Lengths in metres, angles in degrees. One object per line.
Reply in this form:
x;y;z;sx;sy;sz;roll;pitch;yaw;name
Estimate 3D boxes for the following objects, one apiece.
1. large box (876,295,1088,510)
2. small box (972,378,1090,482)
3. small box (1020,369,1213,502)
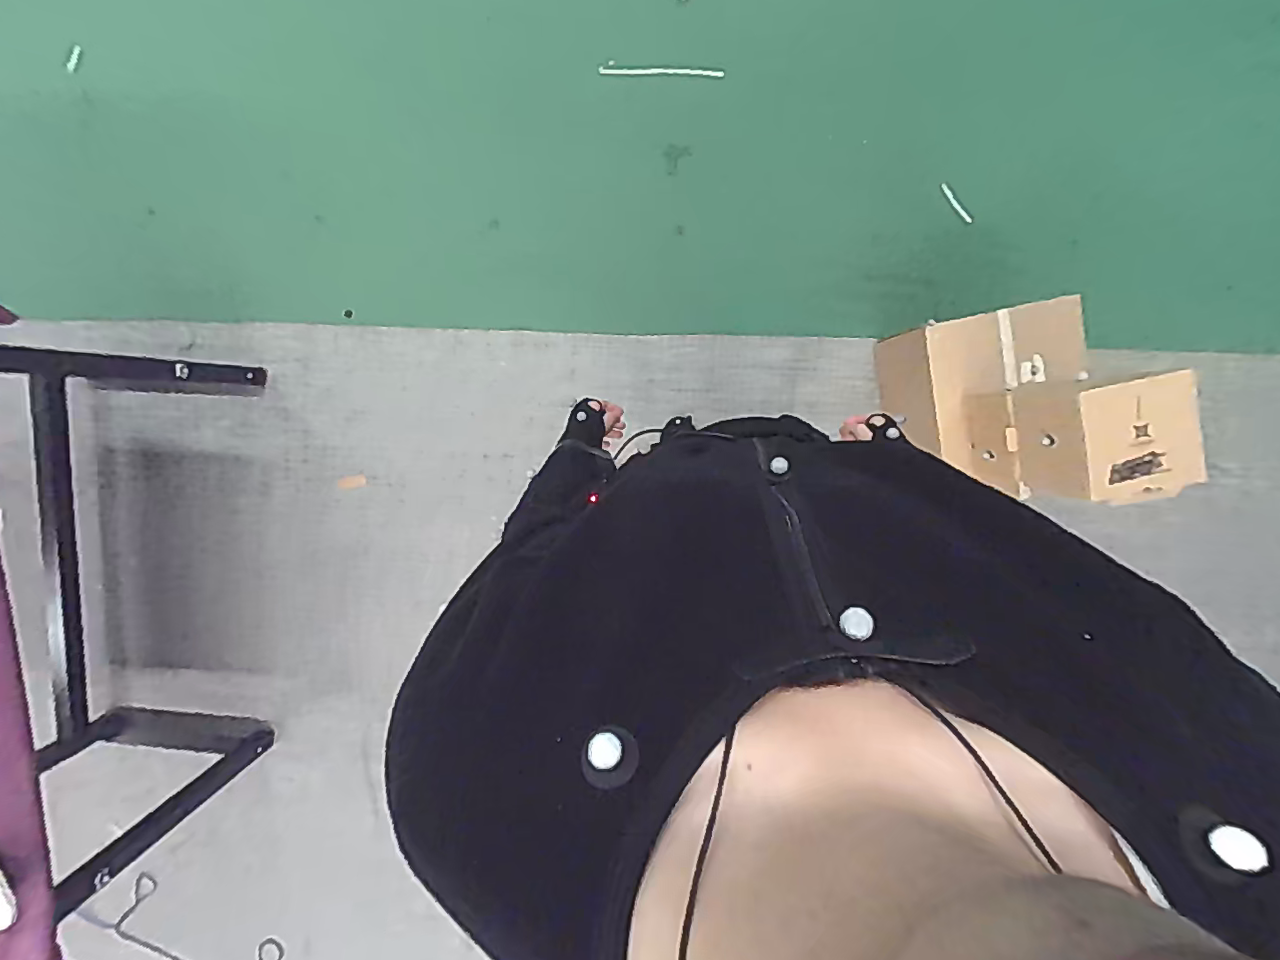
0.794;-0.171;1.279;0.320;0.320;0.408;-11;95;5;large box
0.770;-0.098;1.042;0.179;0.176;0.168;-10;96;6;small box
0.760;-0.075;0.880;0.168;0.176;0.179;-12;96;6;small box
